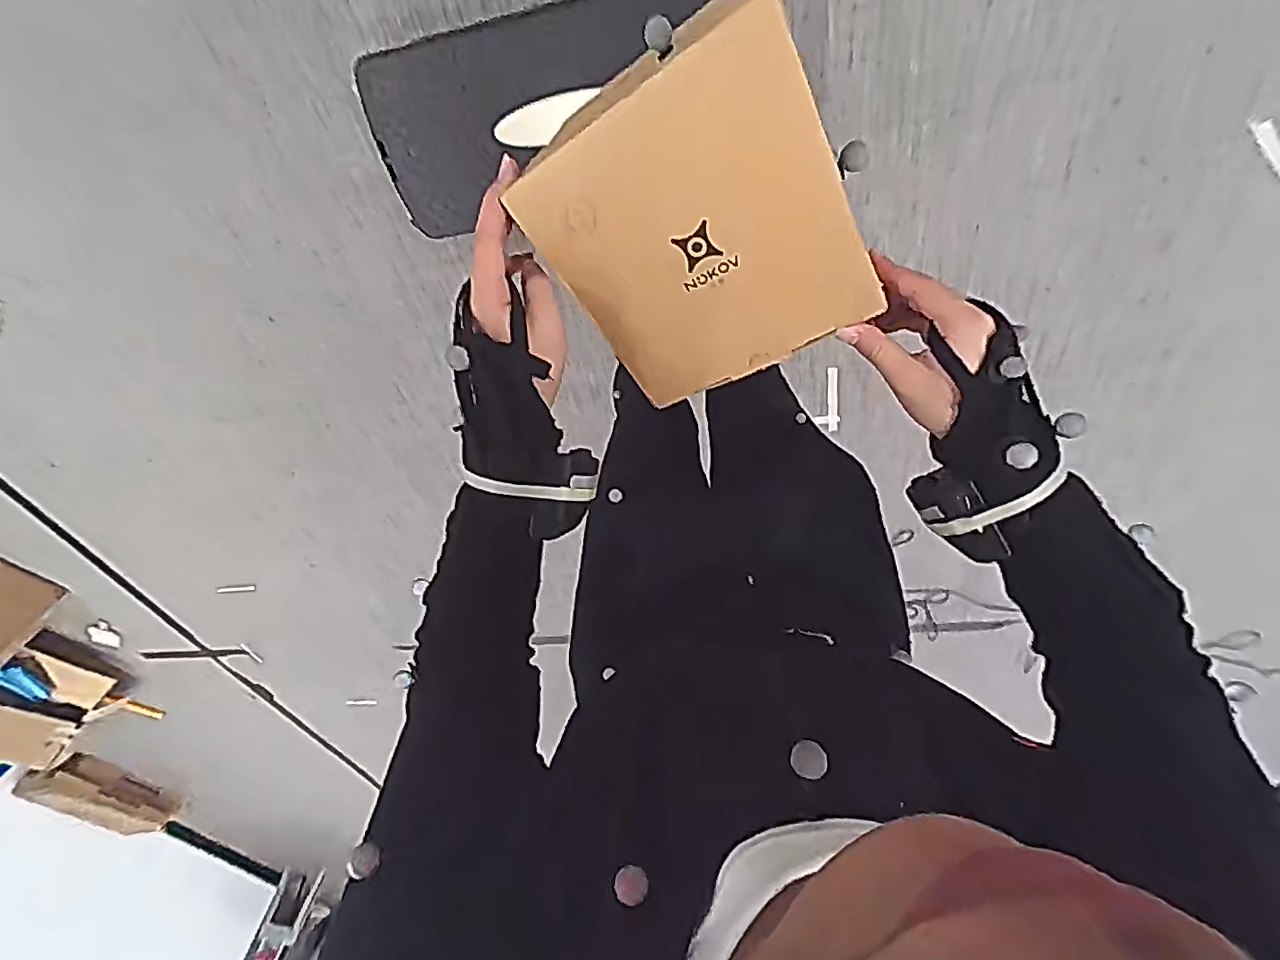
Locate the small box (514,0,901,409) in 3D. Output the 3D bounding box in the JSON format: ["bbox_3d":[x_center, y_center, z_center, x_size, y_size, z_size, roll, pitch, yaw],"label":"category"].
[{"bbox_3d":[0.049,-0.186,0.363,0.168,0.176,0.179,-21,130,27],"label":"small box"}]
